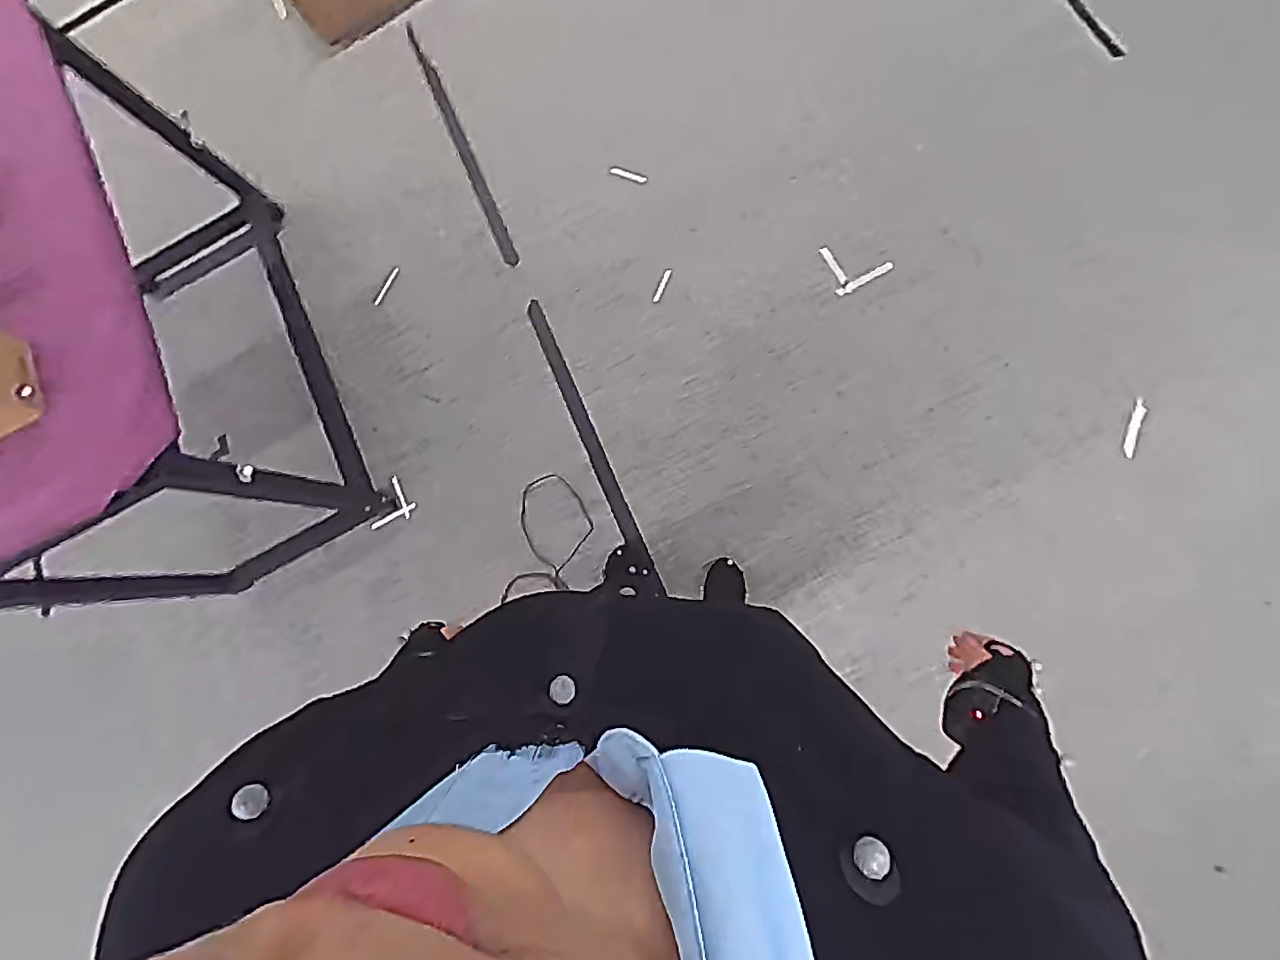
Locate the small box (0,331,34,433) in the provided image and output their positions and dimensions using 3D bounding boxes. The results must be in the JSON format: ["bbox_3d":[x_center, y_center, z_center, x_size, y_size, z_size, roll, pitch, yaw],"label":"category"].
[{"bbox_3d":[-1.188,-0.170,0.911,0.179,0.176,0.168,-26,78,3],"label":"small box"}]
